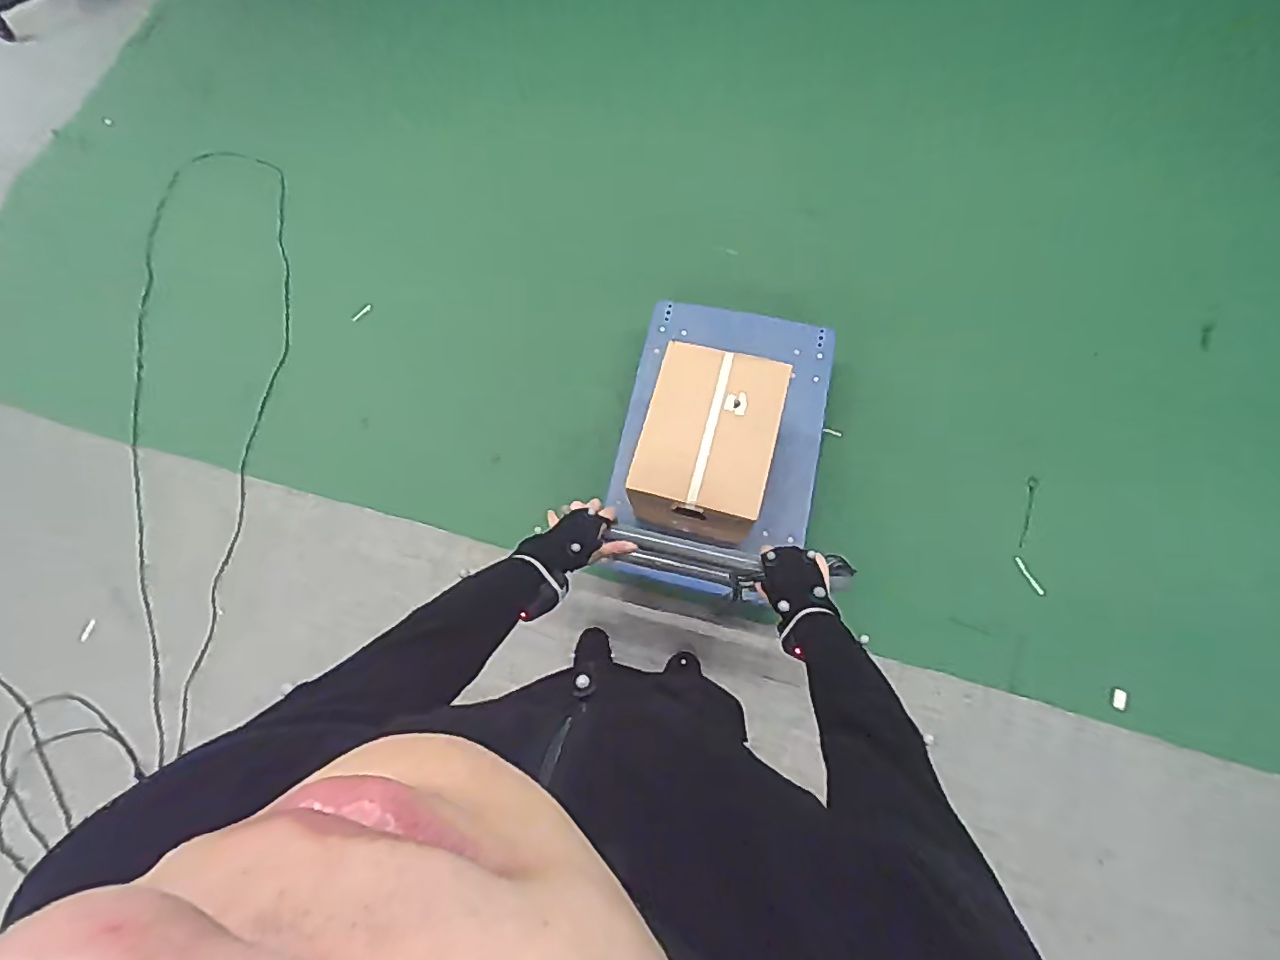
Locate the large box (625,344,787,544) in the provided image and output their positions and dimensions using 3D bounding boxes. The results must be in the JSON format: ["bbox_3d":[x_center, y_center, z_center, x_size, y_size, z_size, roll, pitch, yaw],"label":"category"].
[{"bbox_3d":[0.172,-0.082,1.427,0.320,0.320,0.408,15,74,8],"label":"large box"}]
